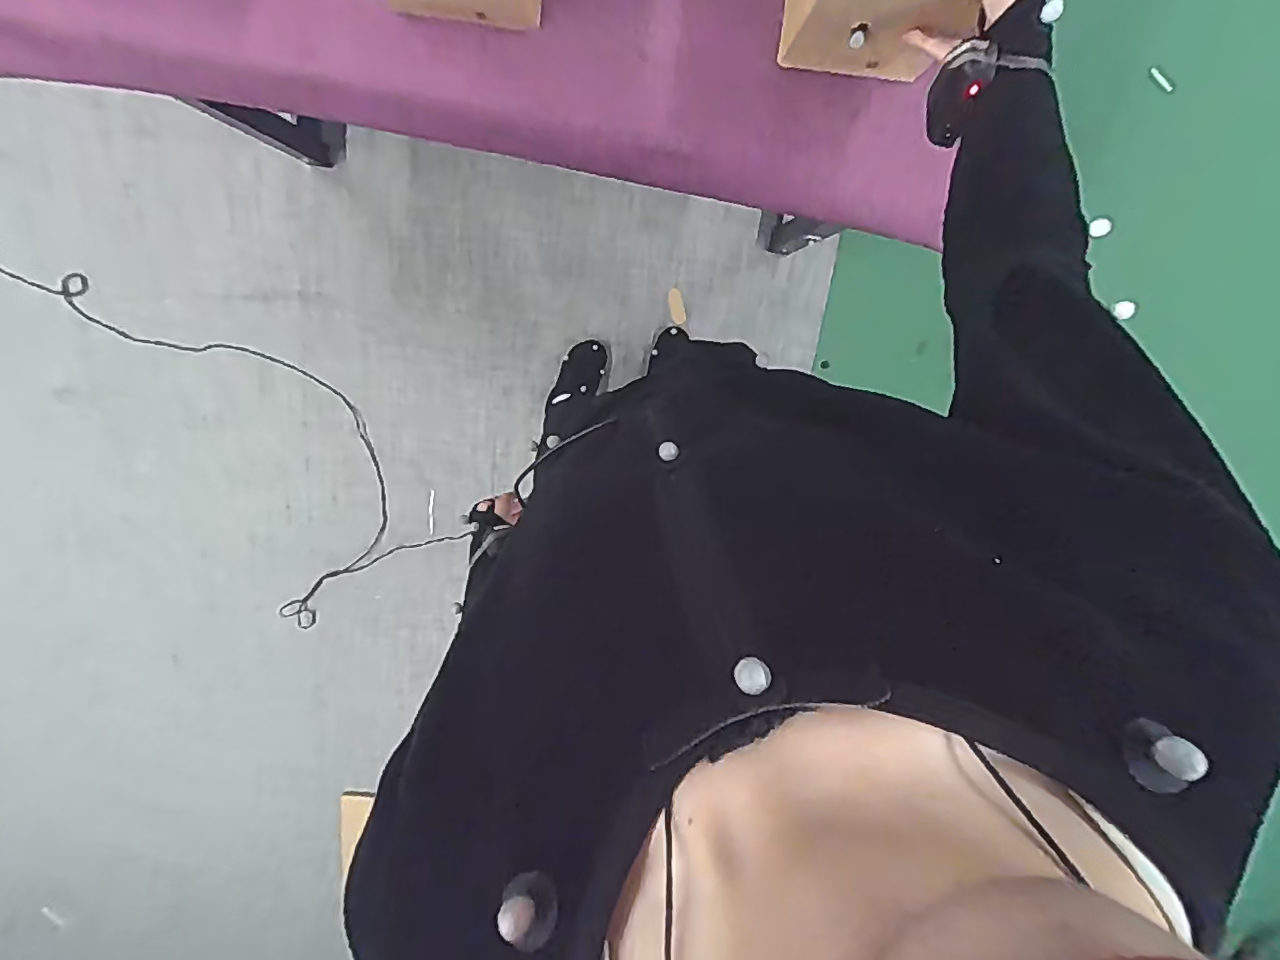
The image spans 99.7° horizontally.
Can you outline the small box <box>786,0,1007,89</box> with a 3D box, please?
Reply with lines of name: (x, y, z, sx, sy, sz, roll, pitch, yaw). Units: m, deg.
small box: (0.255, -0.530, 0.542, 0.168, 0.176, 0.179, 5, 103, -3)
